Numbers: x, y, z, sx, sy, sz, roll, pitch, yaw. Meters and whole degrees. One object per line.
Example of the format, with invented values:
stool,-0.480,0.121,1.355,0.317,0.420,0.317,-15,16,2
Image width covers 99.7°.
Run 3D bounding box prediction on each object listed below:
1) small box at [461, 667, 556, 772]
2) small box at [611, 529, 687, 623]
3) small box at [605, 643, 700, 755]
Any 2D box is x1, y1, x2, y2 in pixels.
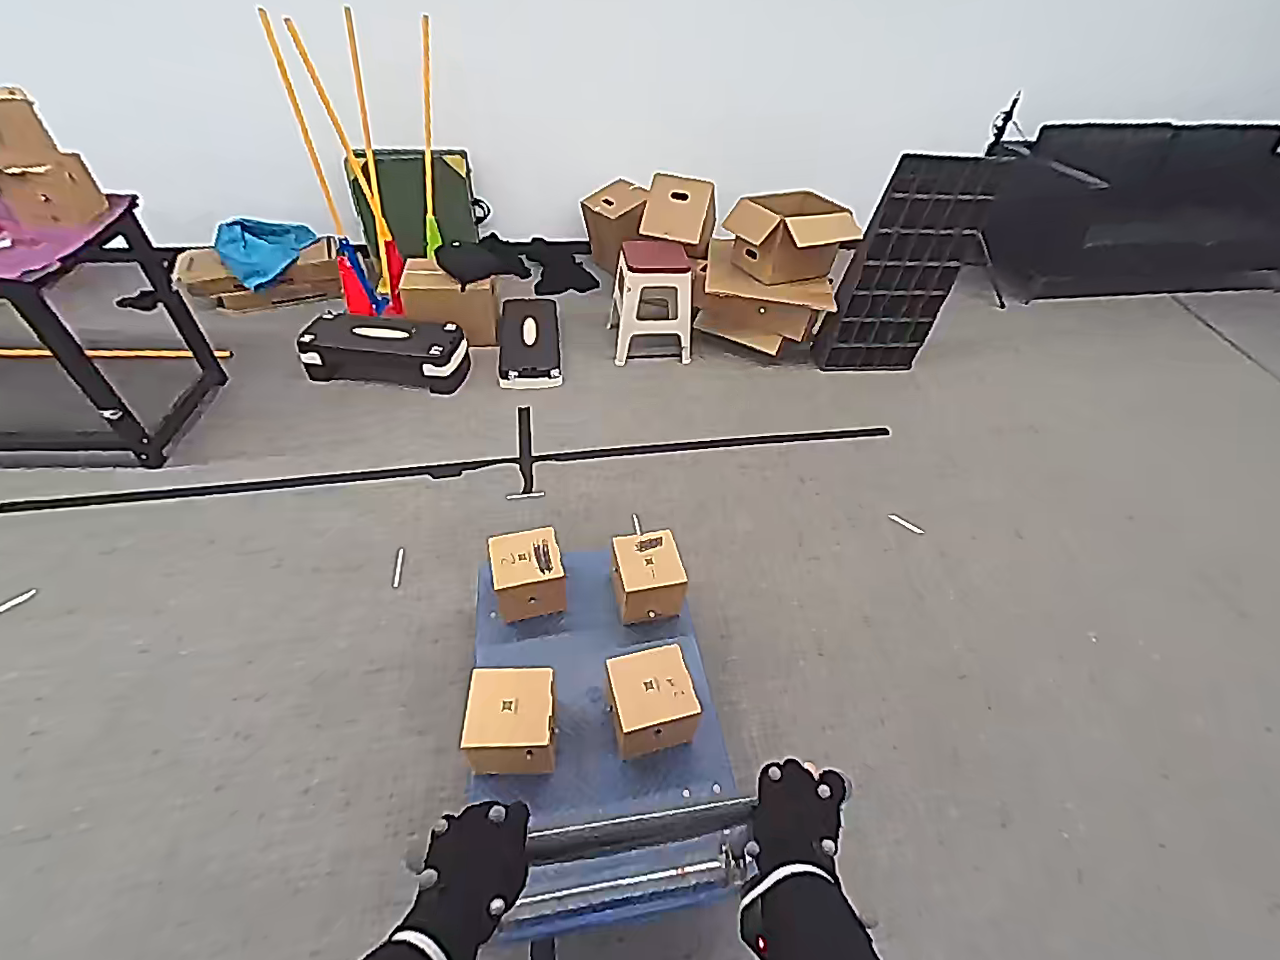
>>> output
small box,-0.278,0.525,1.182,0.179,0.176,0.168,1,45,-6
small box,0.017,0.260,1.468,0.168,0.176,0.179,-7,48,-12
small box,0.022,0.502,1.232,0.179,0.176,0.168,-9,47,-13
